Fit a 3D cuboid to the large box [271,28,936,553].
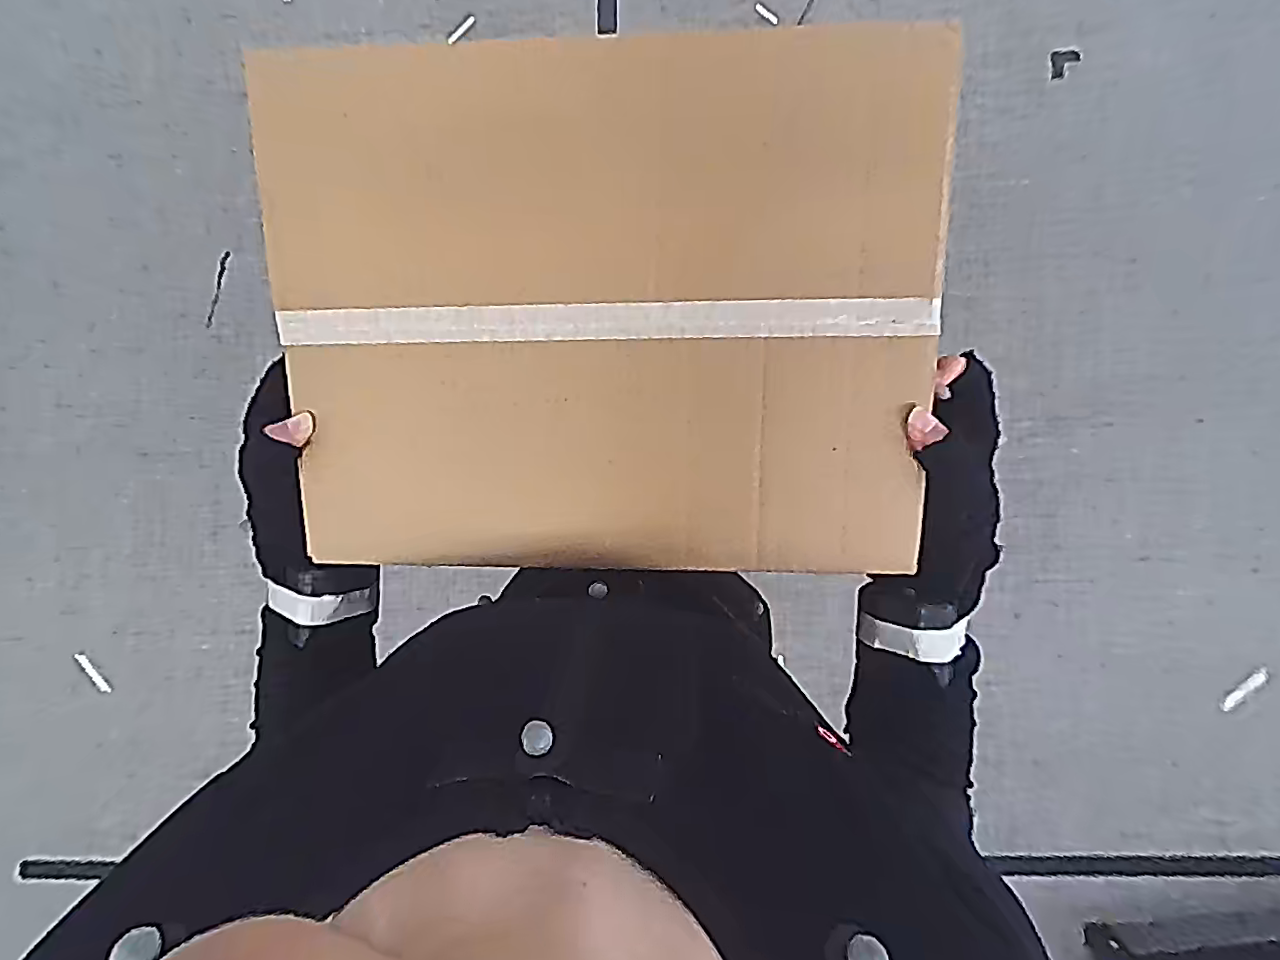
[{"bbox_3d":[-0.019,-0.127,0.489,0.408,0.320,0.320,0,101,4],"label":"large box"}]
